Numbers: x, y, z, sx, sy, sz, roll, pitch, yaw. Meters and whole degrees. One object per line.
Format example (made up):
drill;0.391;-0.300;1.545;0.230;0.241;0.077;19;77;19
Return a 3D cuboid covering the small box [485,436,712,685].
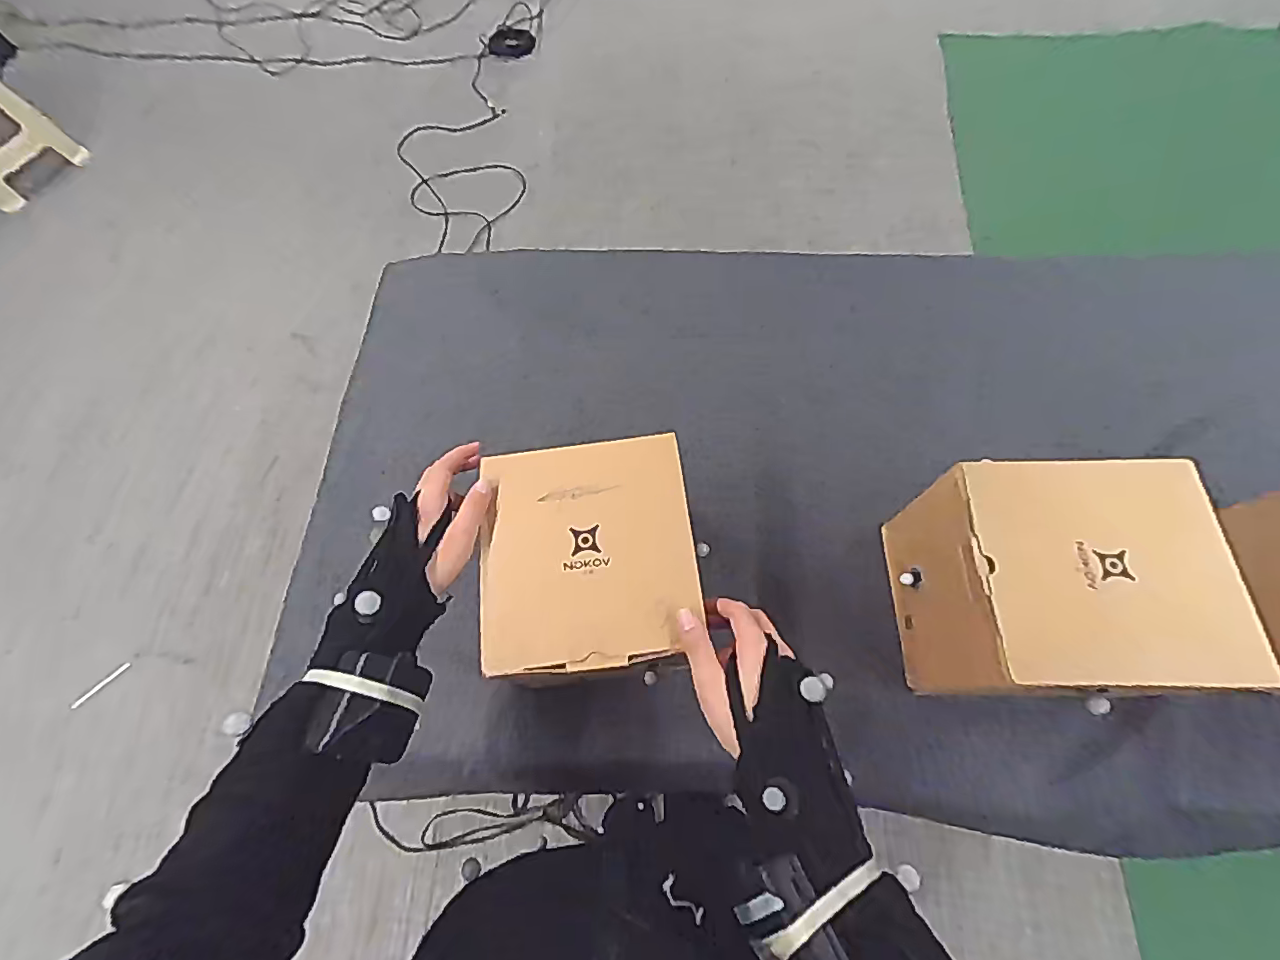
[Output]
small box;-0.033;0.083;0.486;0.168;0.176;0.179;-7;66;-1

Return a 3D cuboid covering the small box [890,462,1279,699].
small box;0.341;0.093;0.457;0.179;0.176;0.168;-1;67;4
